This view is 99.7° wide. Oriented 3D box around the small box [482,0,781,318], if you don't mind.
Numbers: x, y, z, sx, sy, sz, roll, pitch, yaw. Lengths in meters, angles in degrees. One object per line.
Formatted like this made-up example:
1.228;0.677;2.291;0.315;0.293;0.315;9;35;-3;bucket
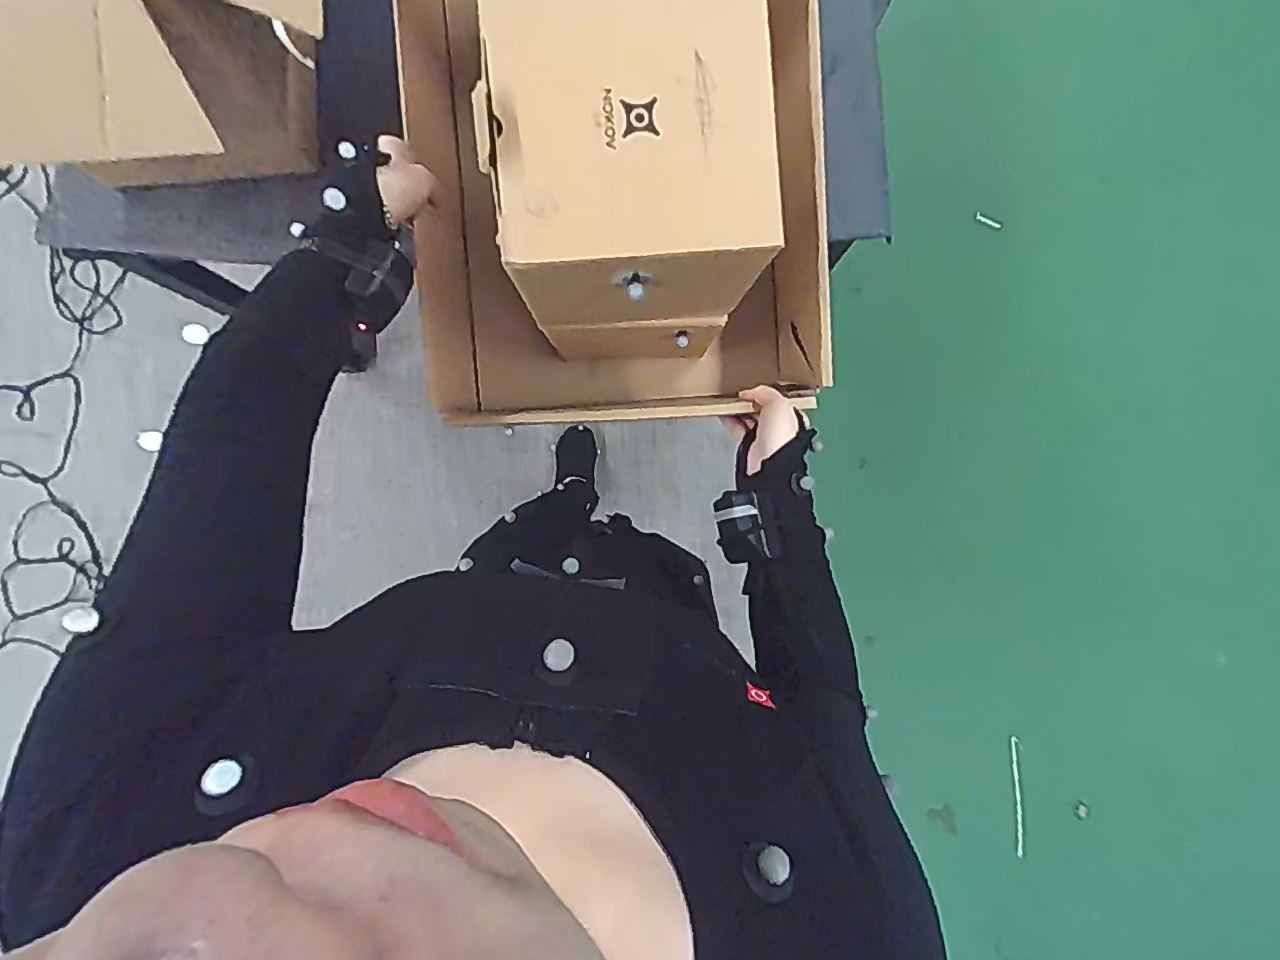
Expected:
-0.007;-0.228;0.411;0.179;0.176;0.168;-5;93;-3;small box
